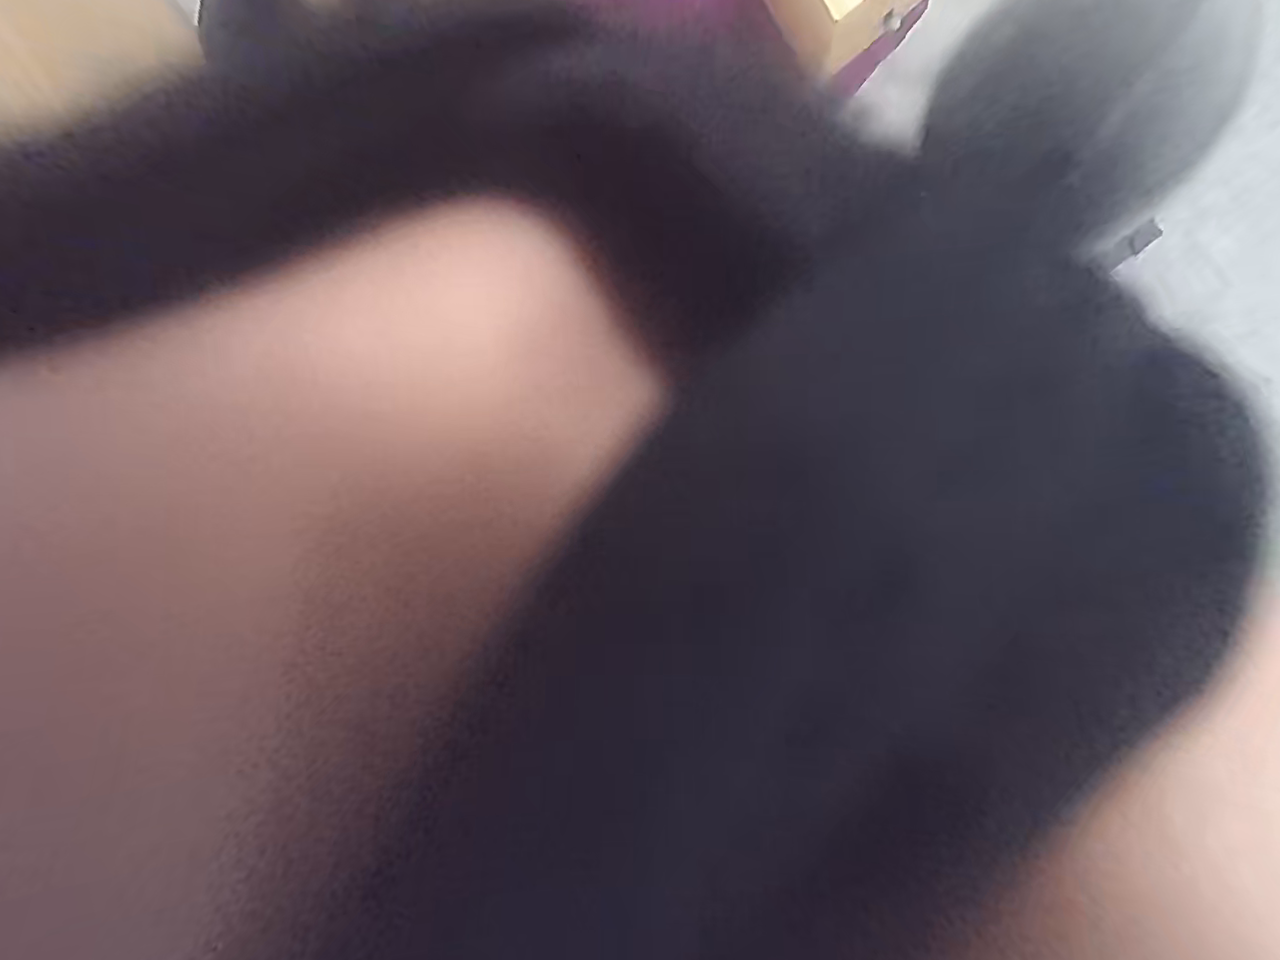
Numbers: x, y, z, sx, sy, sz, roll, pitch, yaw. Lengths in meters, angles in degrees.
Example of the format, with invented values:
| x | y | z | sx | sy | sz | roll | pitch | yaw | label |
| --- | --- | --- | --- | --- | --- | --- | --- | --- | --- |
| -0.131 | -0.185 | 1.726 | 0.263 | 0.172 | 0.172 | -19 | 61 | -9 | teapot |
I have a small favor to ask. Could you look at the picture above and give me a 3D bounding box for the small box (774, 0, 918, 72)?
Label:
| x | y | z | sx | sy | sz | roll | pitch | yaw | label |
| --- | --- | --- | --- | --- | --- | --- | --- | --- | --- |
| 0.214 | -0.569 | 0.541 | 0.168 | 0.176 | 0.179 | -33 | 99 | 20 | small box |
